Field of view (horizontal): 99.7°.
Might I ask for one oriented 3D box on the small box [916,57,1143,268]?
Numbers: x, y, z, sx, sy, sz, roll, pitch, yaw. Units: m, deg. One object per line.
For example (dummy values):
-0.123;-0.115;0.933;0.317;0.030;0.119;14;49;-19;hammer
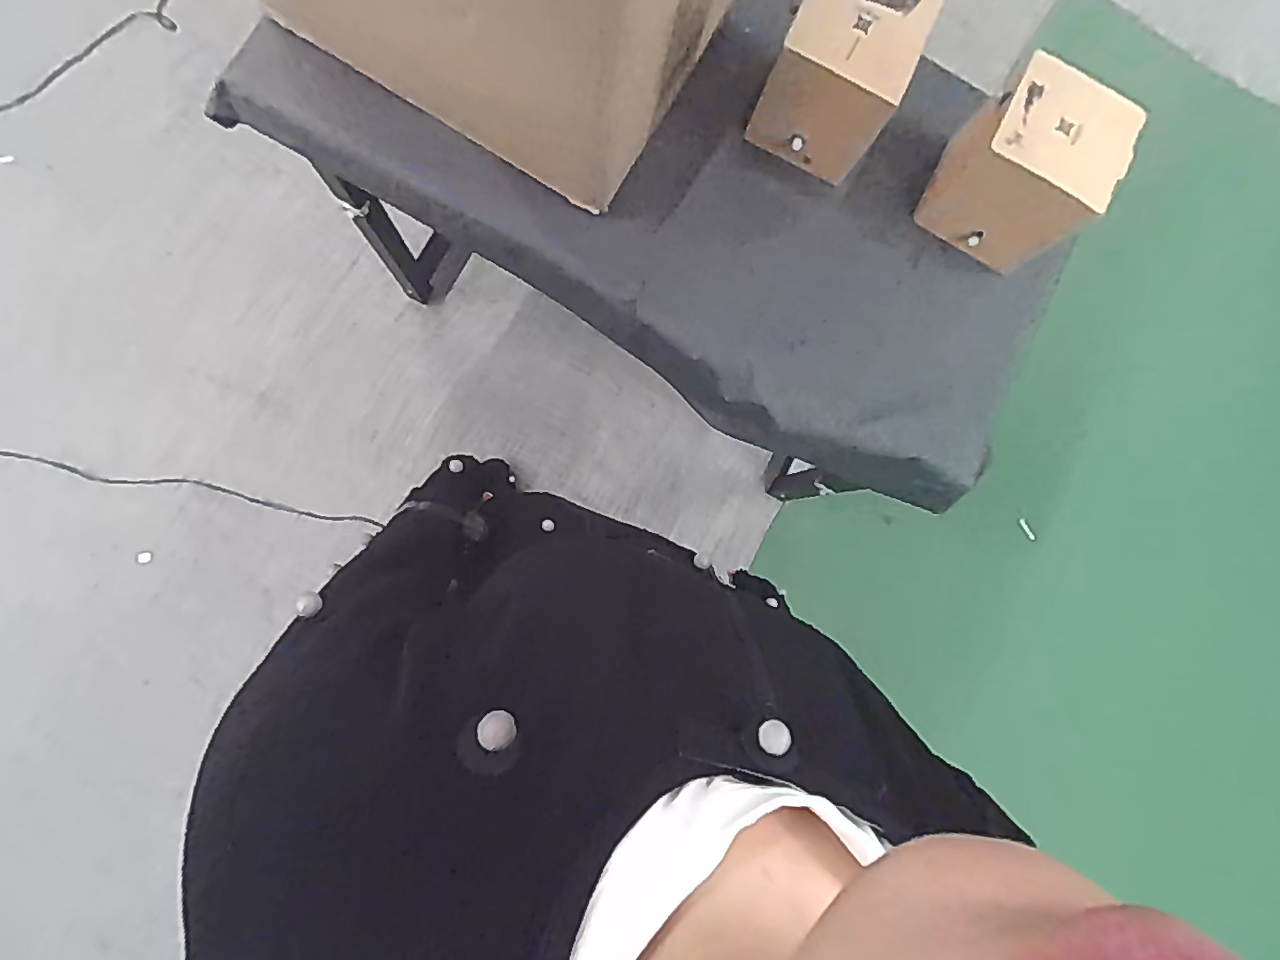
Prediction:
0.550;-0.439;0.785;0.179;0.176;0.168;29;82;-4;small box
